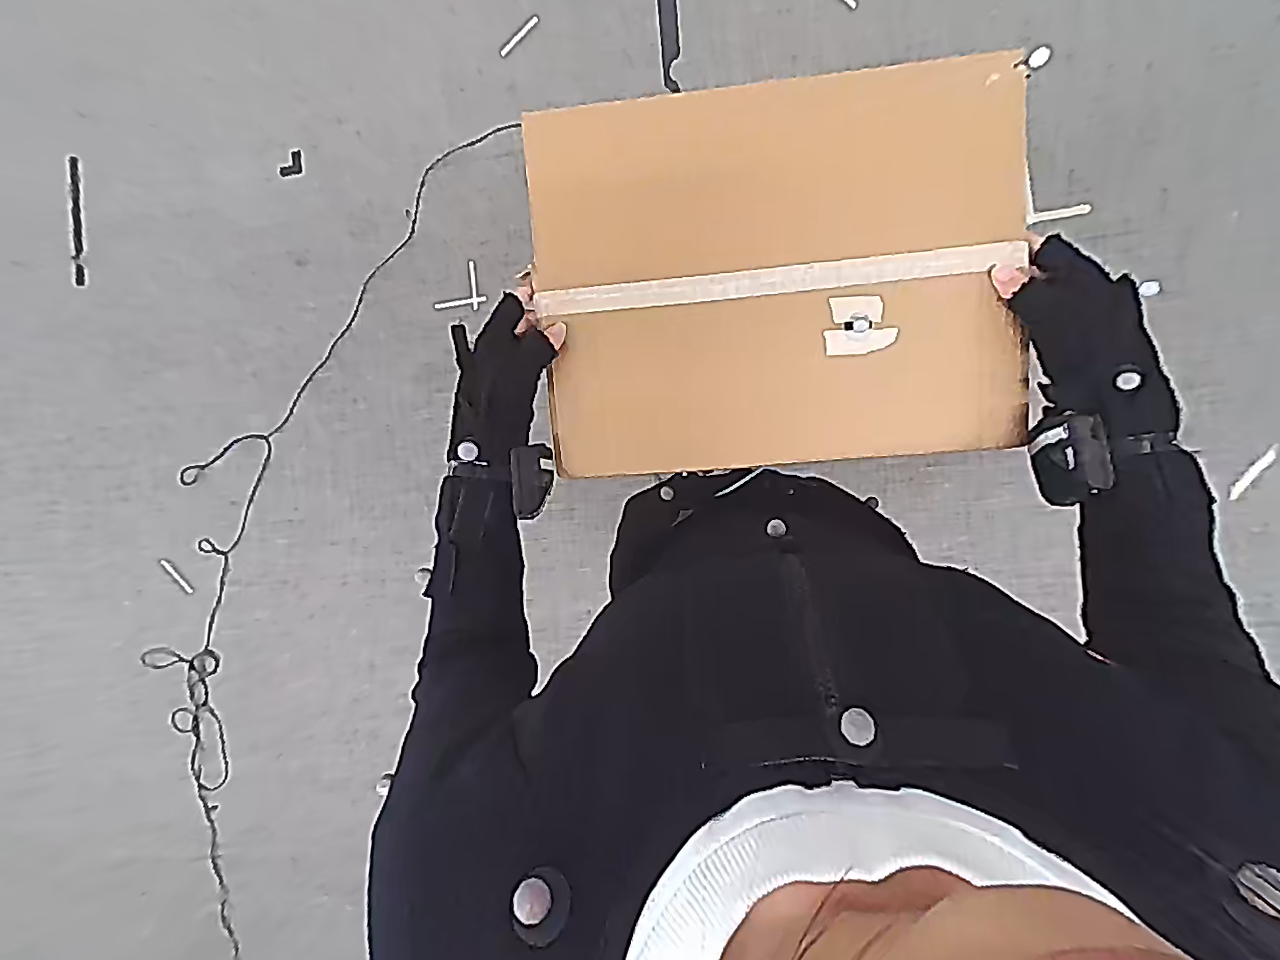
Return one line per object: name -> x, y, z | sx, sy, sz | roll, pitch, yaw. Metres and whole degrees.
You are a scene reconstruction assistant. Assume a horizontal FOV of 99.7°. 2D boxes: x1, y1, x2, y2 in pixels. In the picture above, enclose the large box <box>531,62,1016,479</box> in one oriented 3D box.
large box -> 0.124, -0.187, 0.617 | 0.408, 0.320, 0.320 | -5, 97, 4
